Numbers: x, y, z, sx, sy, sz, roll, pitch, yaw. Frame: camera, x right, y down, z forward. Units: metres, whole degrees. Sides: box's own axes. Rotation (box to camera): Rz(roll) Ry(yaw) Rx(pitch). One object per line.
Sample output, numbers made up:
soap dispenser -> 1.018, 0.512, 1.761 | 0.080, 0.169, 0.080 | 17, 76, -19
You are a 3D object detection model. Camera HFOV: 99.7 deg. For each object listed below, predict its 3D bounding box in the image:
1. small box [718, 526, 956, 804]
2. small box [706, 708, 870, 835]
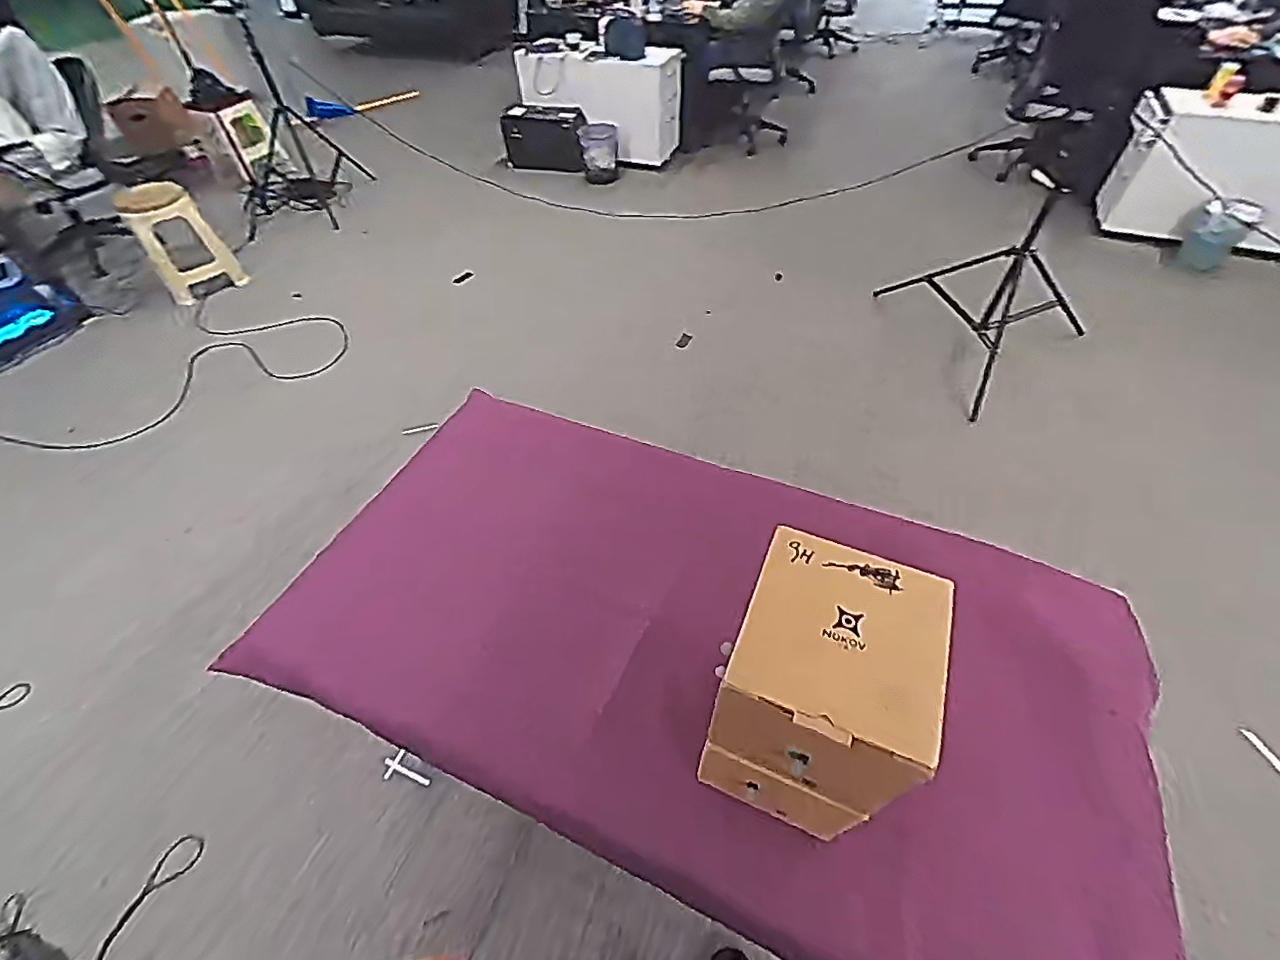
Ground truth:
small box -> 0.180, 0.181, 0.526 | 0.168, 0.176, 0.179 | 18, 53, 17
small box -> 0.182, 0.291, 0.648 | 0.168, 0.176, 0.179 | 18, 52, 16
